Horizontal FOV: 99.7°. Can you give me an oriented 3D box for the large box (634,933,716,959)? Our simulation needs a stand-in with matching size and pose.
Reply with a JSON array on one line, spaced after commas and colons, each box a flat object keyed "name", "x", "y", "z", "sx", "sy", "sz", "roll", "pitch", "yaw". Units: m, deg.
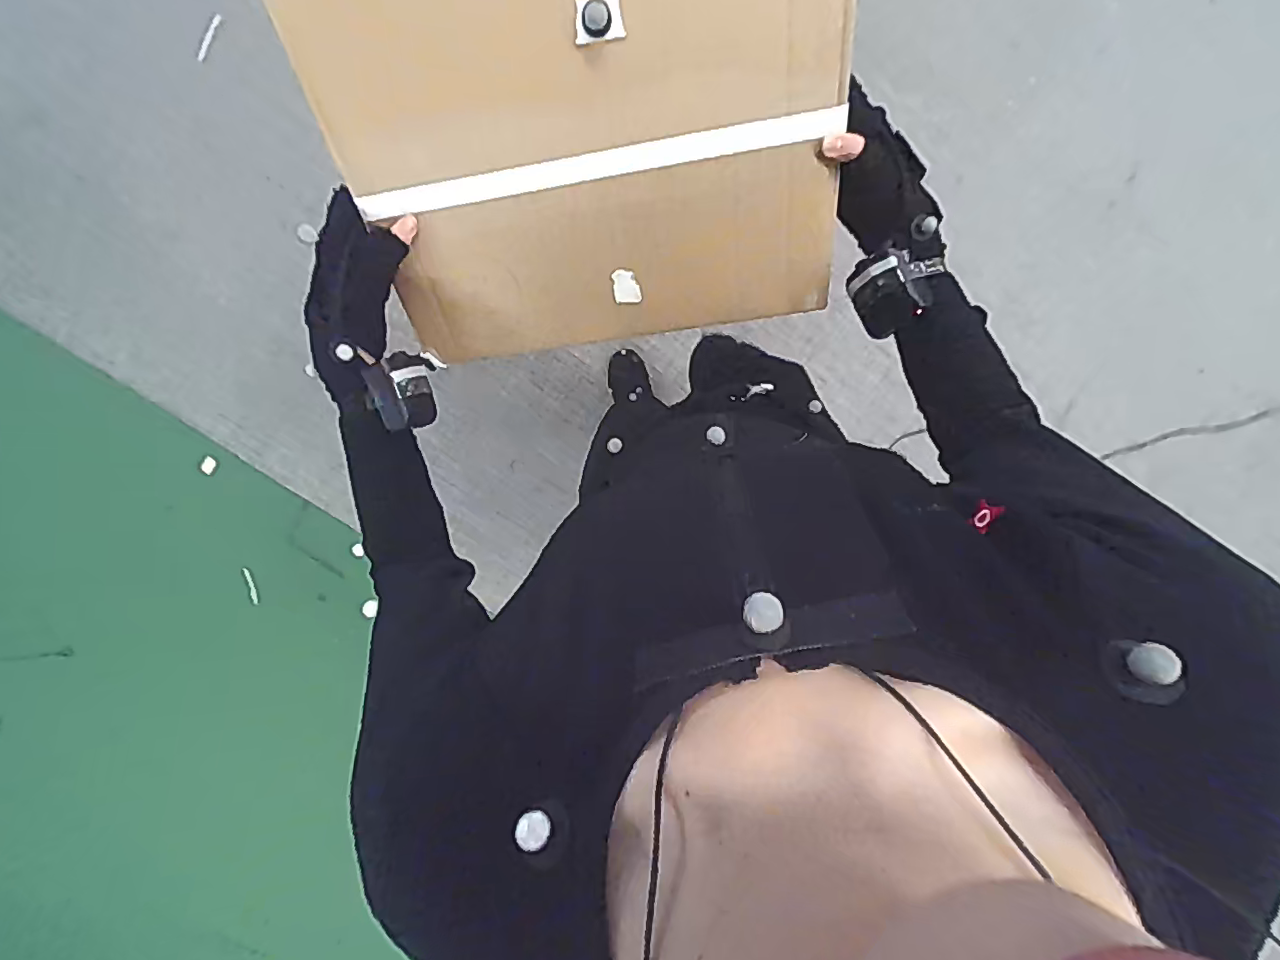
[{"name": "large box", "x": 0.123, "y": 1.338, "z": 1.208, "sx": 0.408, "sy": 0.320, "sz": 0.320, "roll": 40, "pitch": 104, "yaw": -11}]
